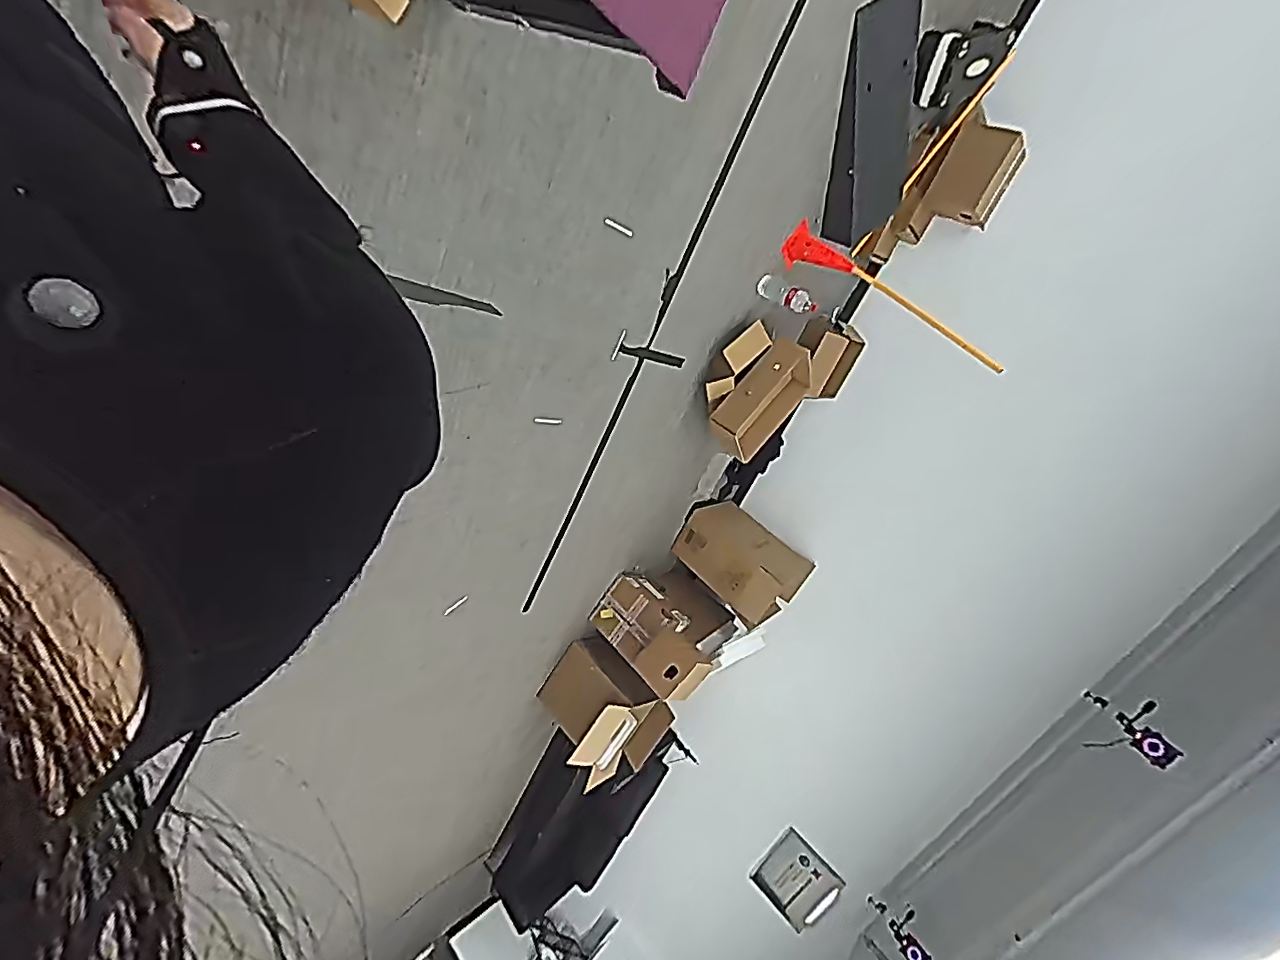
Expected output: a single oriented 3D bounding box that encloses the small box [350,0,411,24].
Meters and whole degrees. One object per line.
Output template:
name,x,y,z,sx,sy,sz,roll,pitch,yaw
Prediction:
small box,-0.522,-1.015,1.008,0.168,0.176,0.179,-54,150,7
